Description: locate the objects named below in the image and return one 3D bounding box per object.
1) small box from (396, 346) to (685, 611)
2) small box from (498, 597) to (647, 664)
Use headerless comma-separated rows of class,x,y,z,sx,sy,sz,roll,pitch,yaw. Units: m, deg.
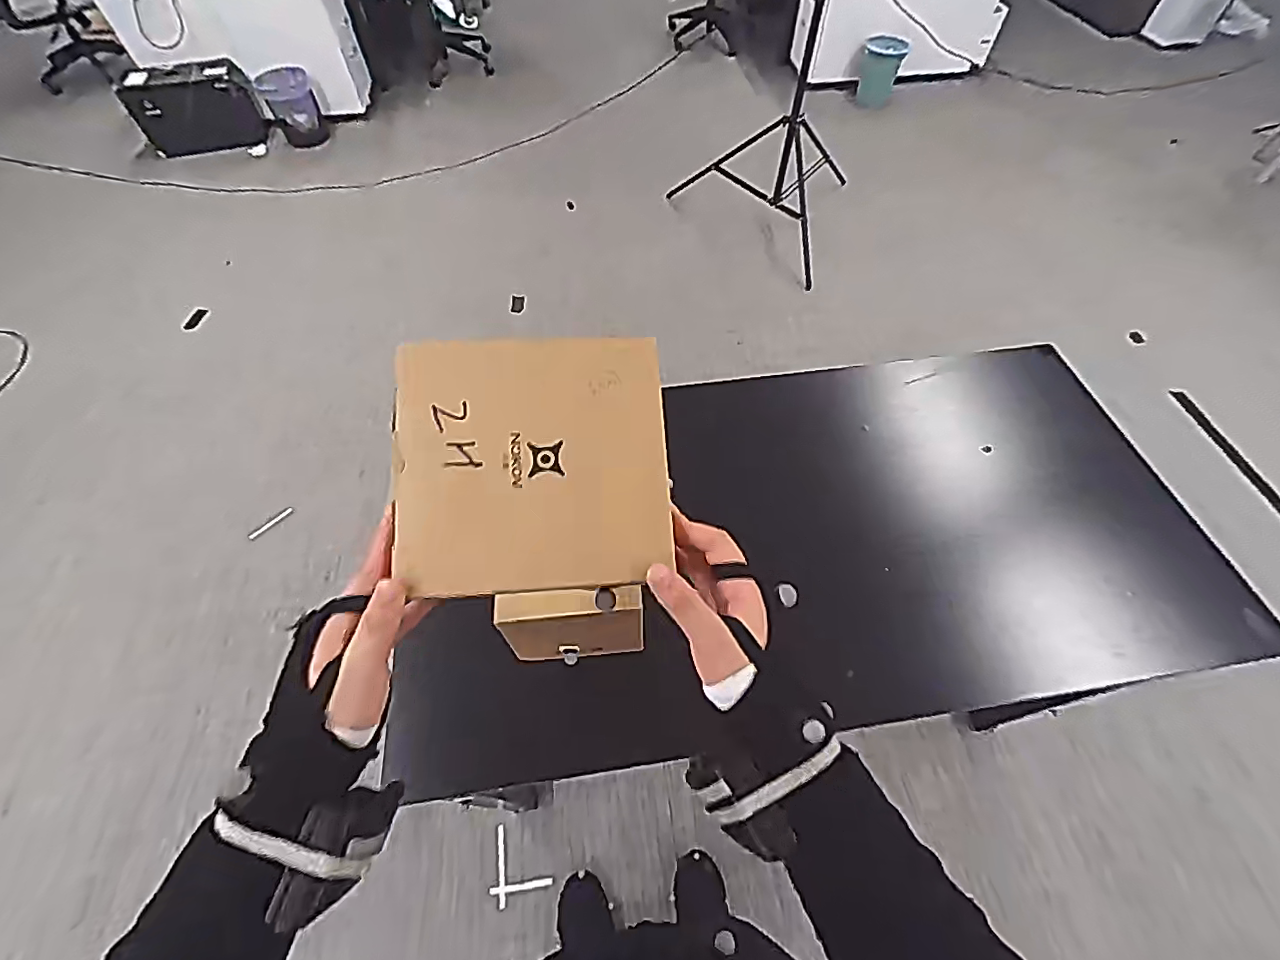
small box,-0.070,0.007,0.418,0.179,0.176,0.168,-3,80,-5
small box,-0.082,0.124,0.705,0.168,0.176,0.179,-6,58,-2
